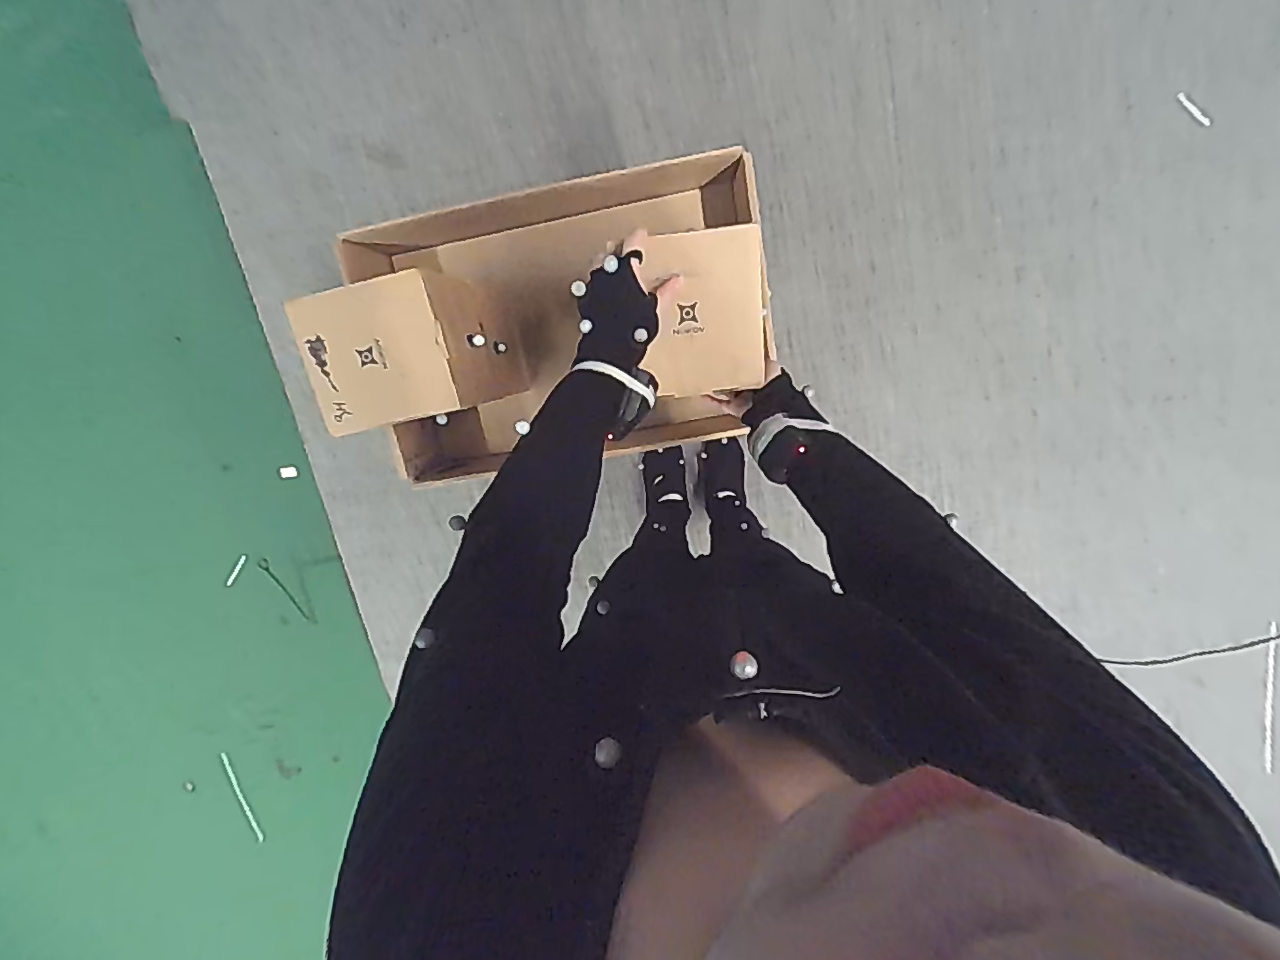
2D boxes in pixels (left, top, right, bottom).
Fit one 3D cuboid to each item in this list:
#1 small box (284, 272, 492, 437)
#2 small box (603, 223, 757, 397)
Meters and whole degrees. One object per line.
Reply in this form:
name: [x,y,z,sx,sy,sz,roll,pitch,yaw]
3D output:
small box: [-0.310,-0.164,0.714,0.179,0.176,0.168,-11,102,6]
small box: [0.050,-0.206,0.671,0.168,0.176,0.179,-4,106,3]
